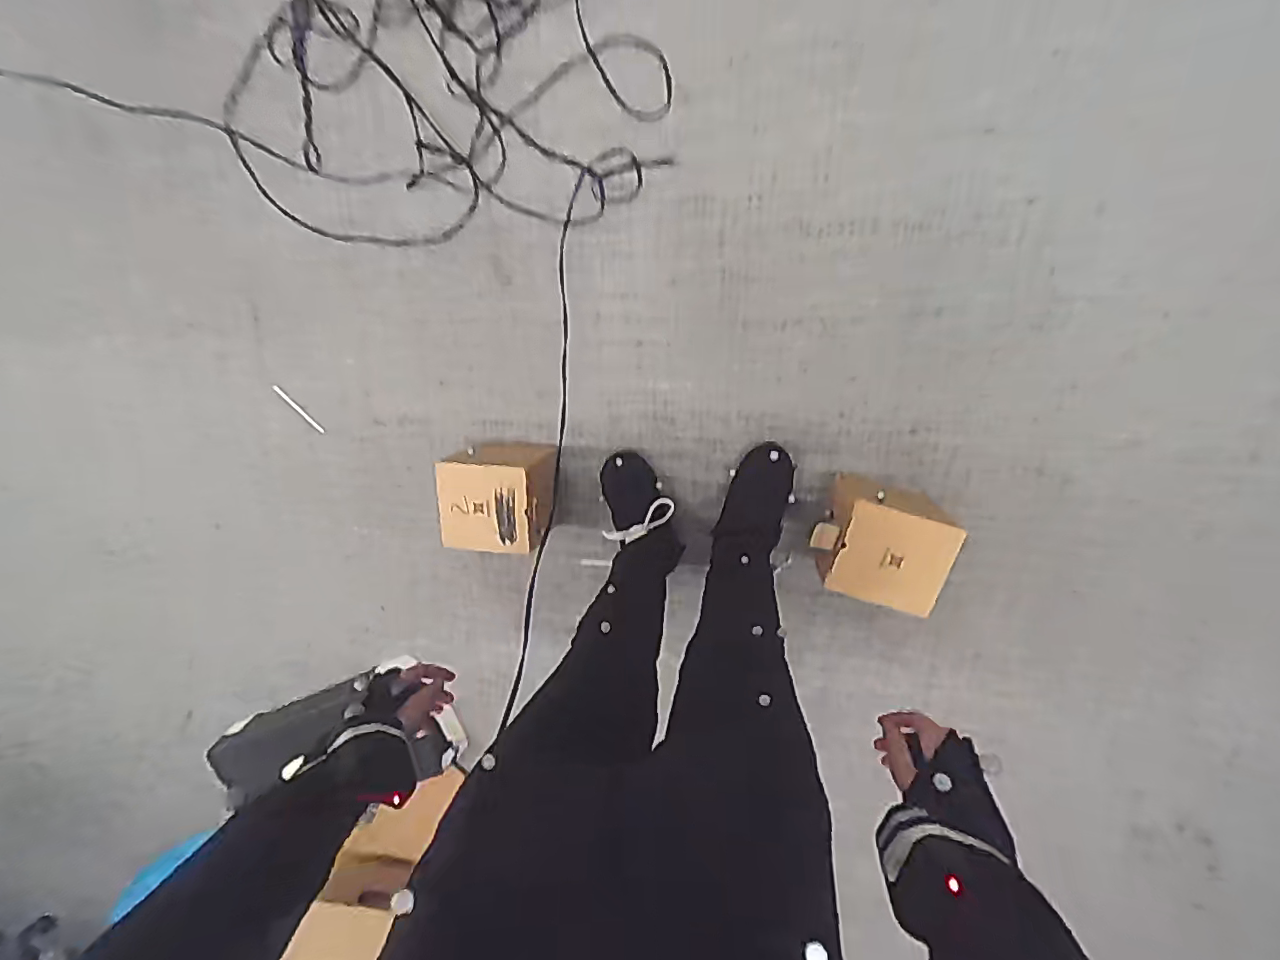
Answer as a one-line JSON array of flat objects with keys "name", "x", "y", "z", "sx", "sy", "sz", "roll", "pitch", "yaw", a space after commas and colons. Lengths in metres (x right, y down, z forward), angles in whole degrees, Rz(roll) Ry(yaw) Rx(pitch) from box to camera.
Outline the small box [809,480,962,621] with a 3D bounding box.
[{"name": "small box", "x": 0.414, "y": 0.113, "z": 0.946, "sx": 0.179, "sy": 0.176, "sz": 0.168, "roll": 16, "pitch": 109, "yaw": 6}]
